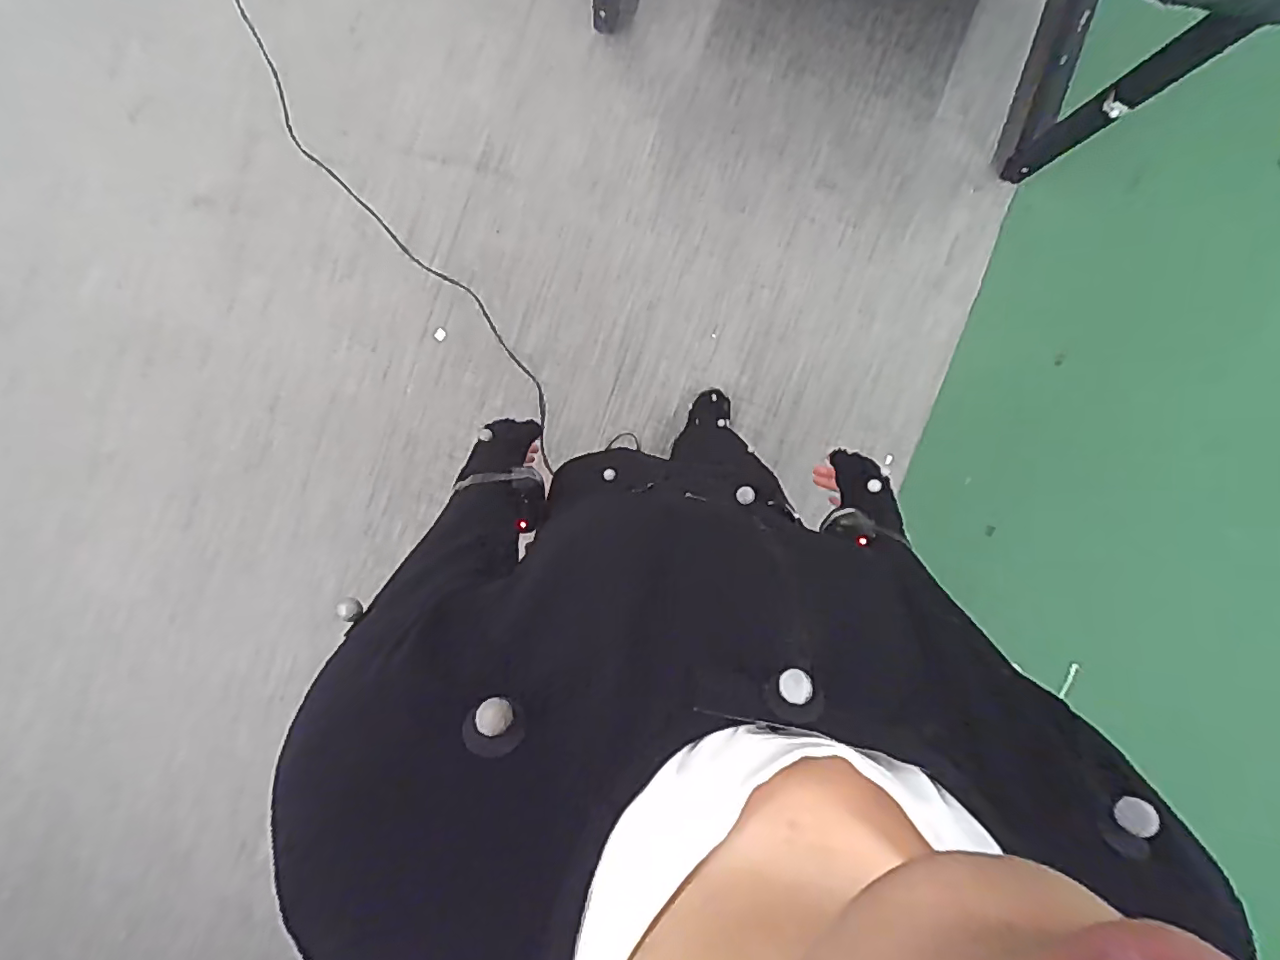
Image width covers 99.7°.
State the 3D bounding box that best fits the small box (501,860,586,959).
[{"bbox_3d":[-0.246,1.131,1.402,0.179,0.176,0.168,10,95,-2],"label":"small box"}]
